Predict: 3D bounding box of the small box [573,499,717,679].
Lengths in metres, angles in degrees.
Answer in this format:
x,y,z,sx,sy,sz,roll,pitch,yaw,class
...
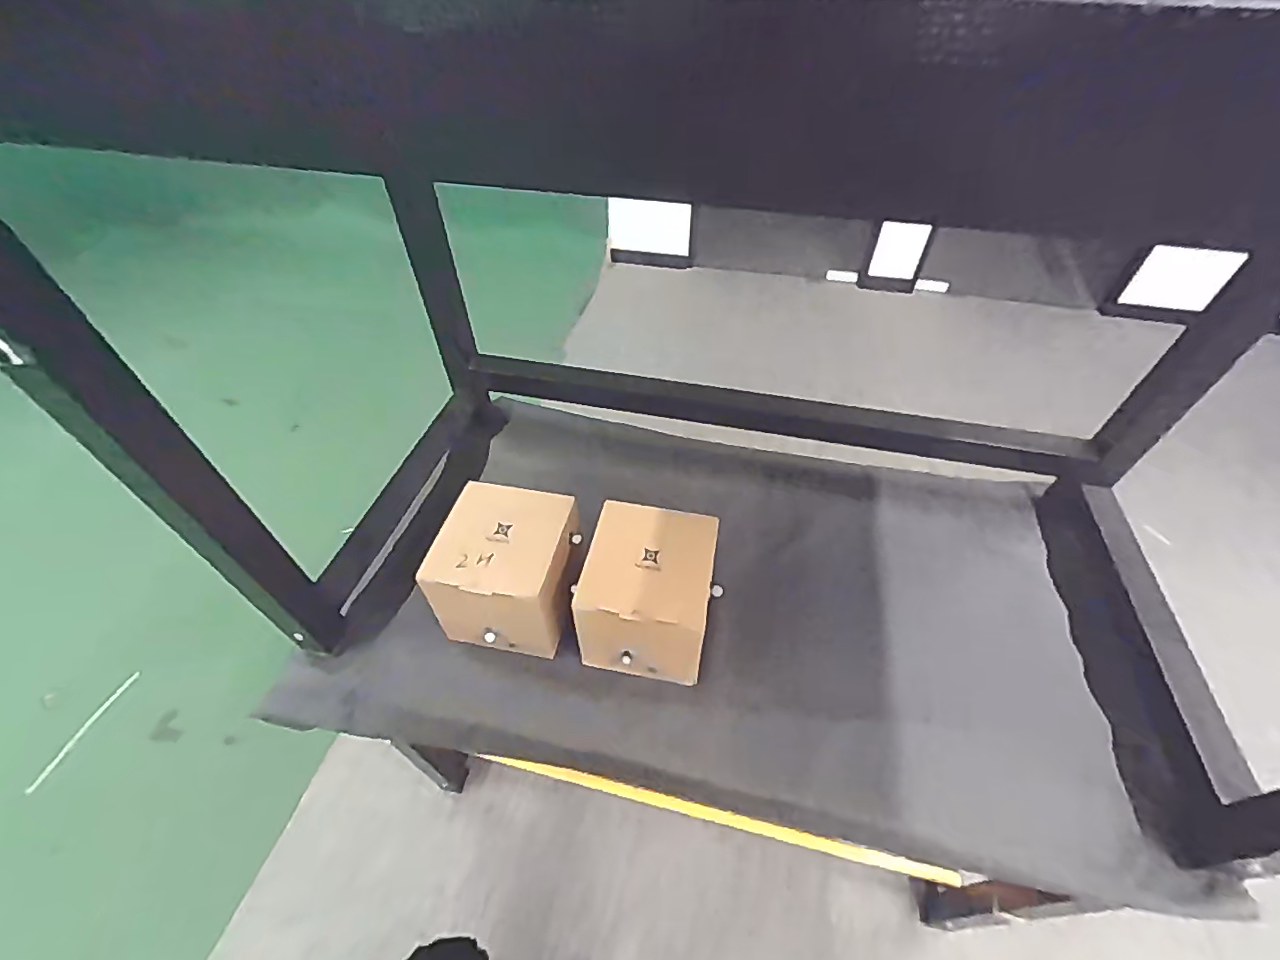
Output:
x,y,z,sx,sy,sz,roll,pitch,yaw,class
0.011,0.155,0.771,0.168,0.176,0.179,8,48,8,small box

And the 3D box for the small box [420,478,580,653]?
x,y,z,sx,sy,sz,roll,pitch,yaw,class
-0.189,0.125,0.794,0.168,0.176,0.179,8,48,7,small box
